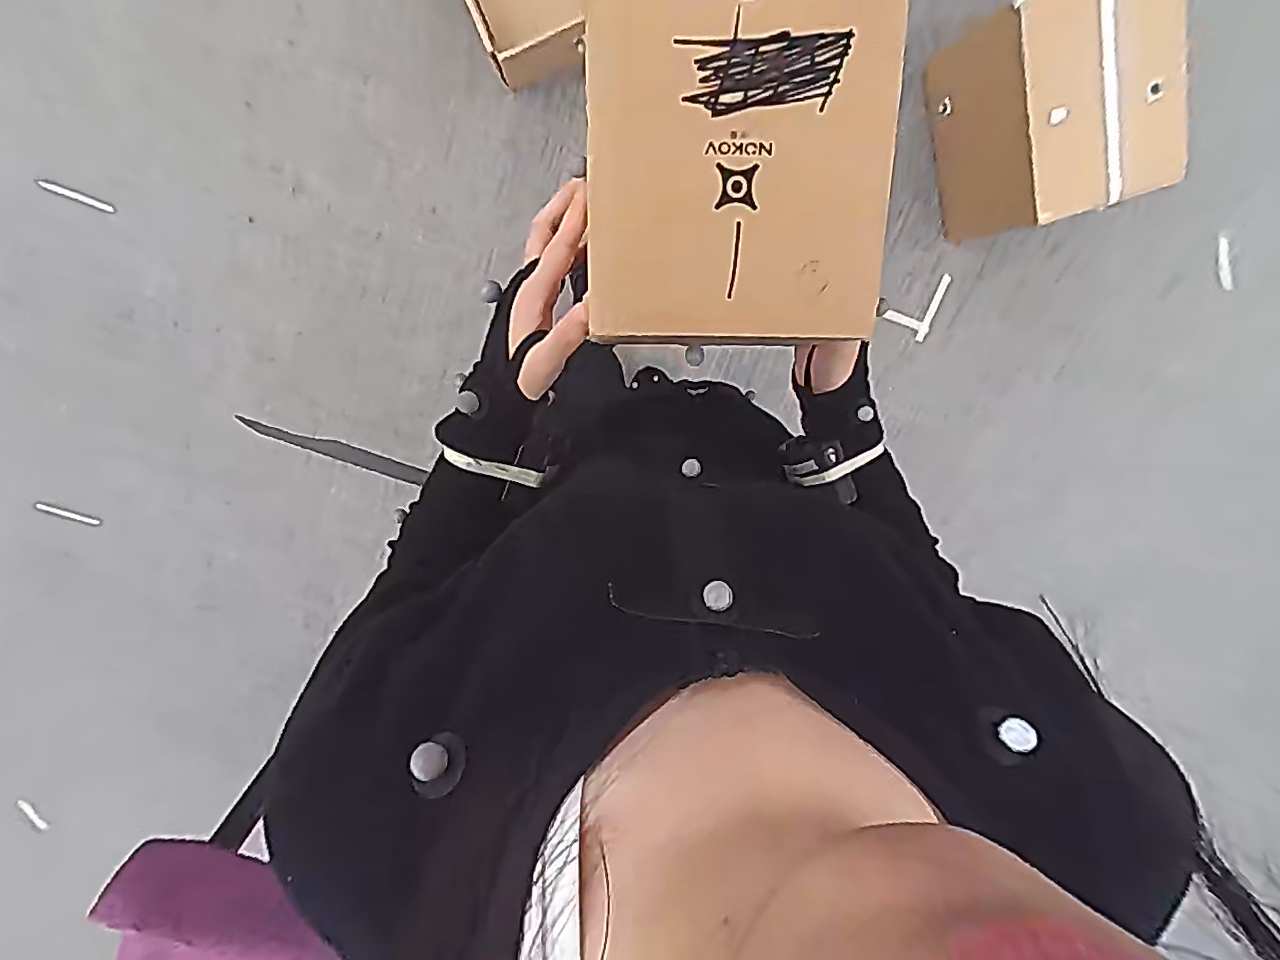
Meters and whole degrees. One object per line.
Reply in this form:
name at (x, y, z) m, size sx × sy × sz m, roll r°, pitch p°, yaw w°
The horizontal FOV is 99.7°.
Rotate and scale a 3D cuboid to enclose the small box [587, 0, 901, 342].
small box at (0.050, -0.188, 0.370) m, size 0.168 × 0.176 × 0.179 m, roll 0°, pitch 104°, yaw -1°
